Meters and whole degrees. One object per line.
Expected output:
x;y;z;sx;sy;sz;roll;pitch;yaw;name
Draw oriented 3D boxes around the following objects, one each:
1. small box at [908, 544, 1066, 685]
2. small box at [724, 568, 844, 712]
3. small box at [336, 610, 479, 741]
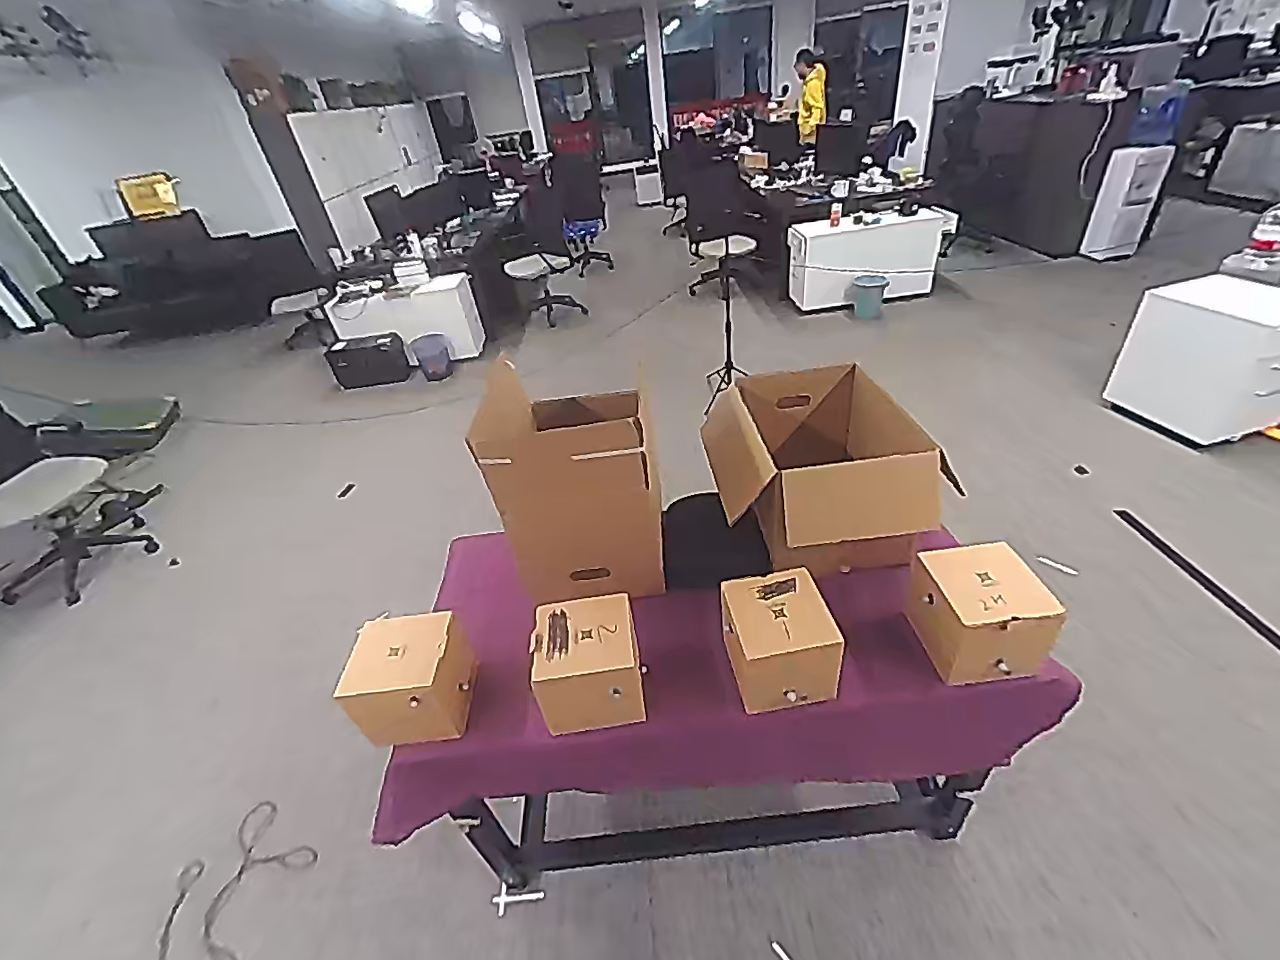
0.609;0.242;0.980;0.168;0.176;0.179;-8;36;3;small box
0.253;0.292;0.990;0.168;0.176;0.179;-10;37;-1;small box
-0.426;0.372;1.024;0.179;0.176;0.168;-7;36;1;small box
